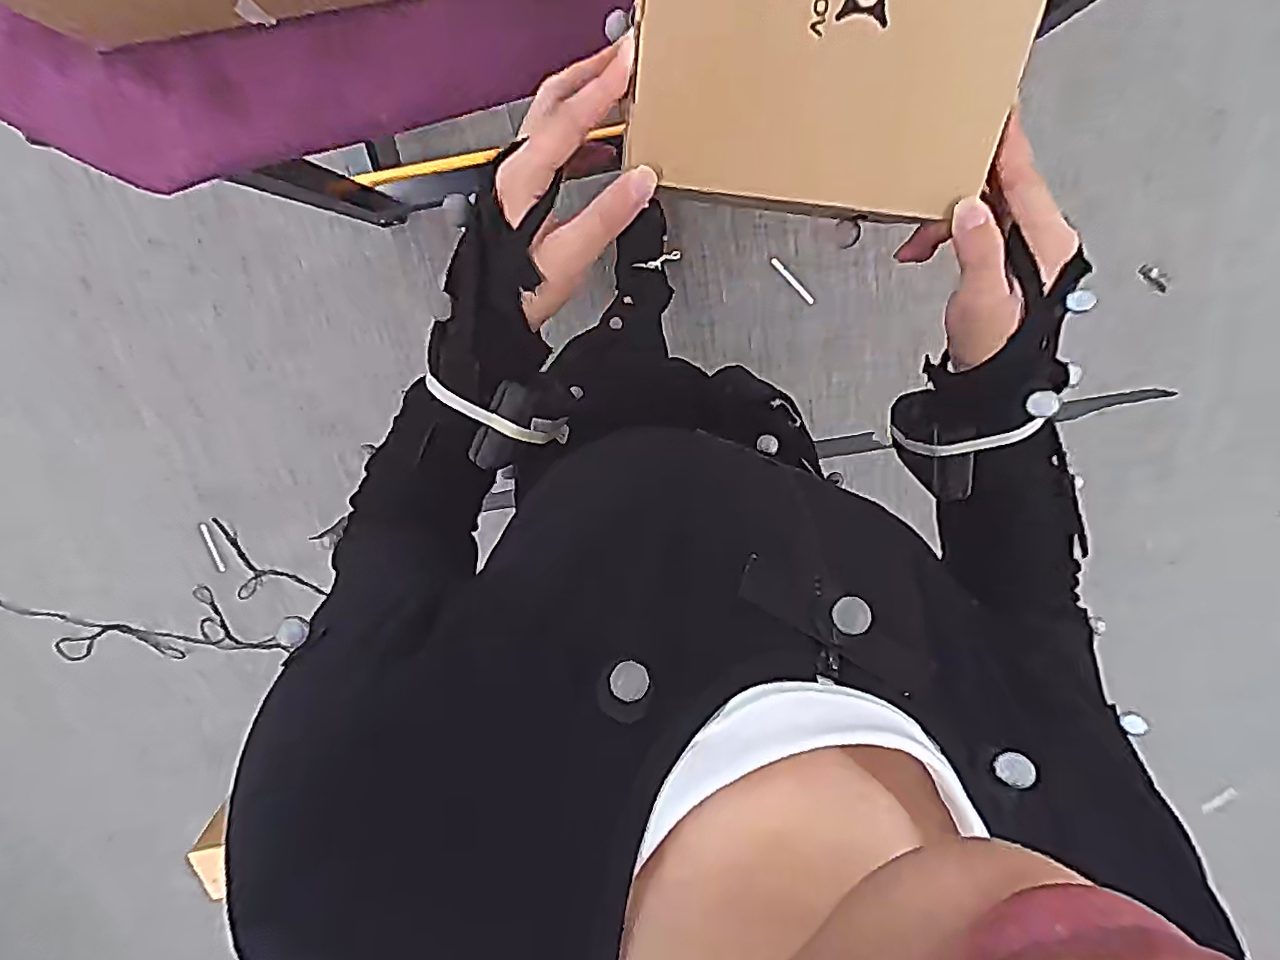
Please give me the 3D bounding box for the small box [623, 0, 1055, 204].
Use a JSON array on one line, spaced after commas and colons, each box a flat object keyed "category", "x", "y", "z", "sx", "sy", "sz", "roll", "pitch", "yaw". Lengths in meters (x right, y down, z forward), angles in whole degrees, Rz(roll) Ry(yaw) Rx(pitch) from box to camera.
[{"category": "small box", "x": 0.086, "y": -0.248, "z": 0.287, "sx": 0.179, "sy": 0.176, "sz": 0.168, "roll": 5, "pitch": 115, "yaw": -4}]
